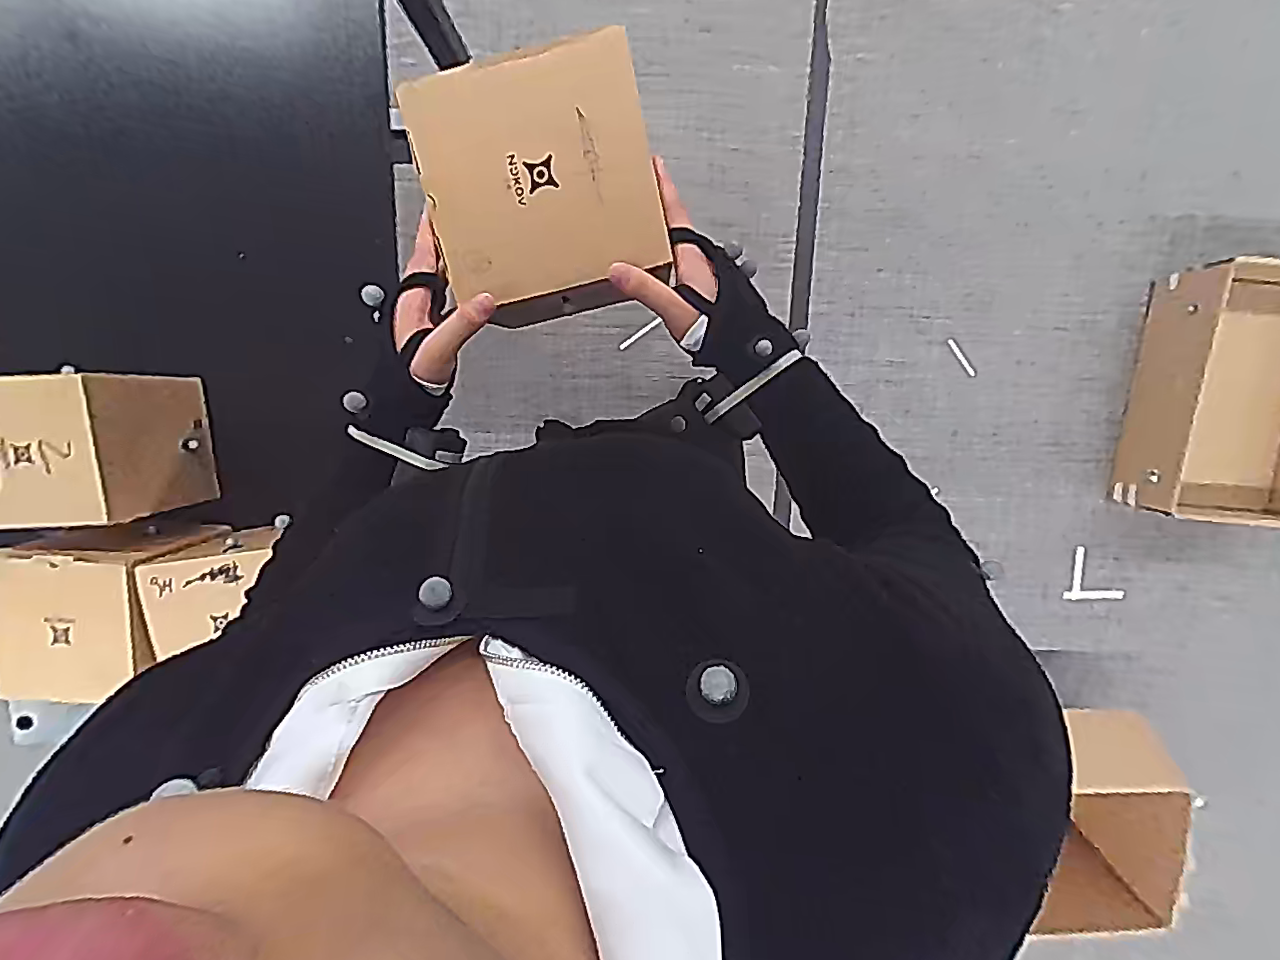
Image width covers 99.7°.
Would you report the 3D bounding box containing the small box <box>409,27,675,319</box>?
[{"bbox_3d":[-0.070,-0.249,0.489,0.179,0.176,0.168,-12,103,4],"label":"small box"}]
